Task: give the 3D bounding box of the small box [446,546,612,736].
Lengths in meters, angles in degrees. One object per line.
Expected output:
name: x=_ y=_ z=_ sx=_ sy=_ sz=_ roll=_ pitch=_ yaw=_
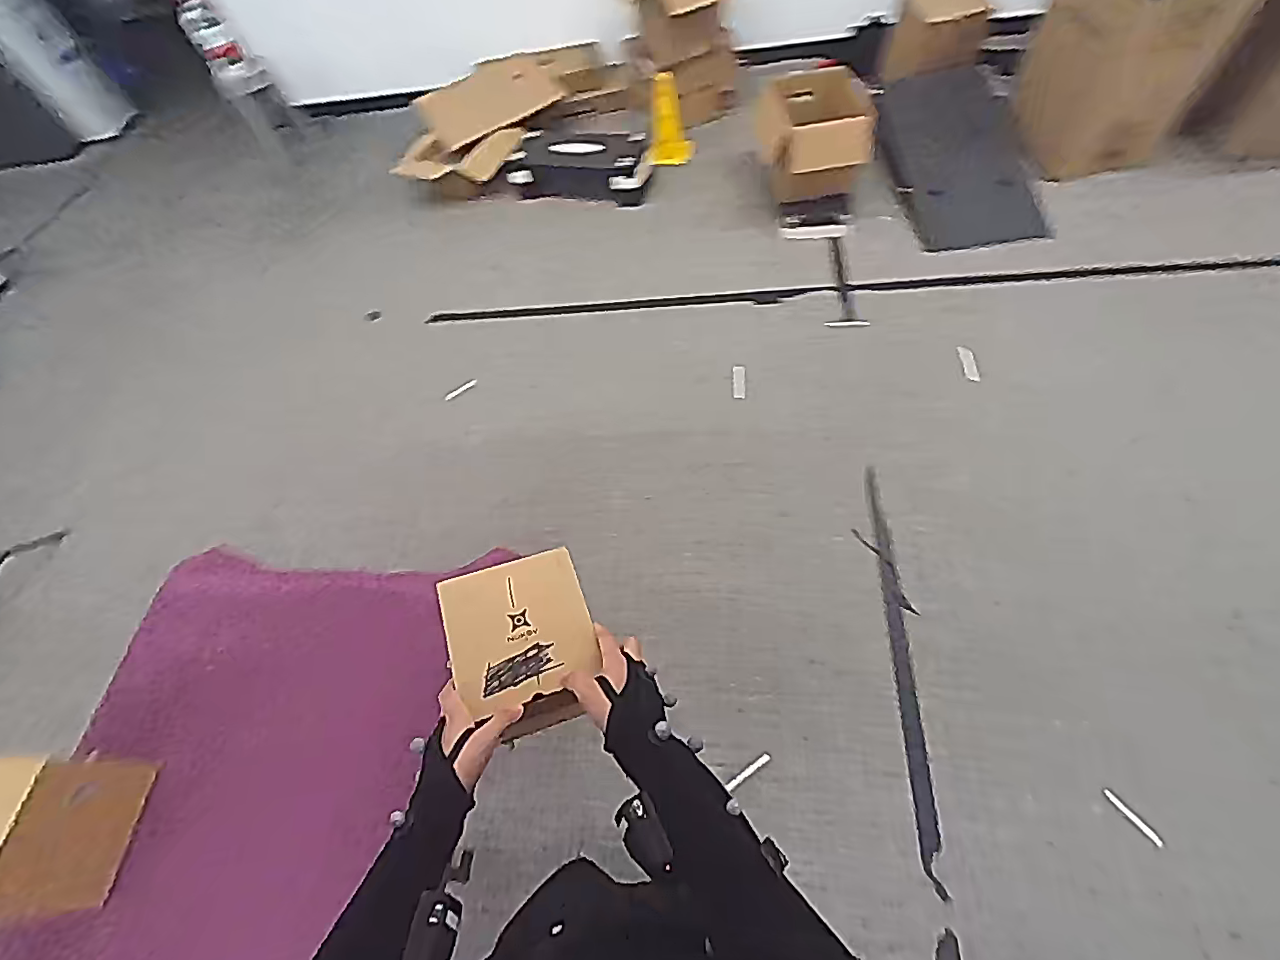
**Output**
small box: x=-0.139 y=0.215 z=0.699 sx=0.168 sy=0.176 sz=0.179 roll=-14 pitch=59 yaw=-14
